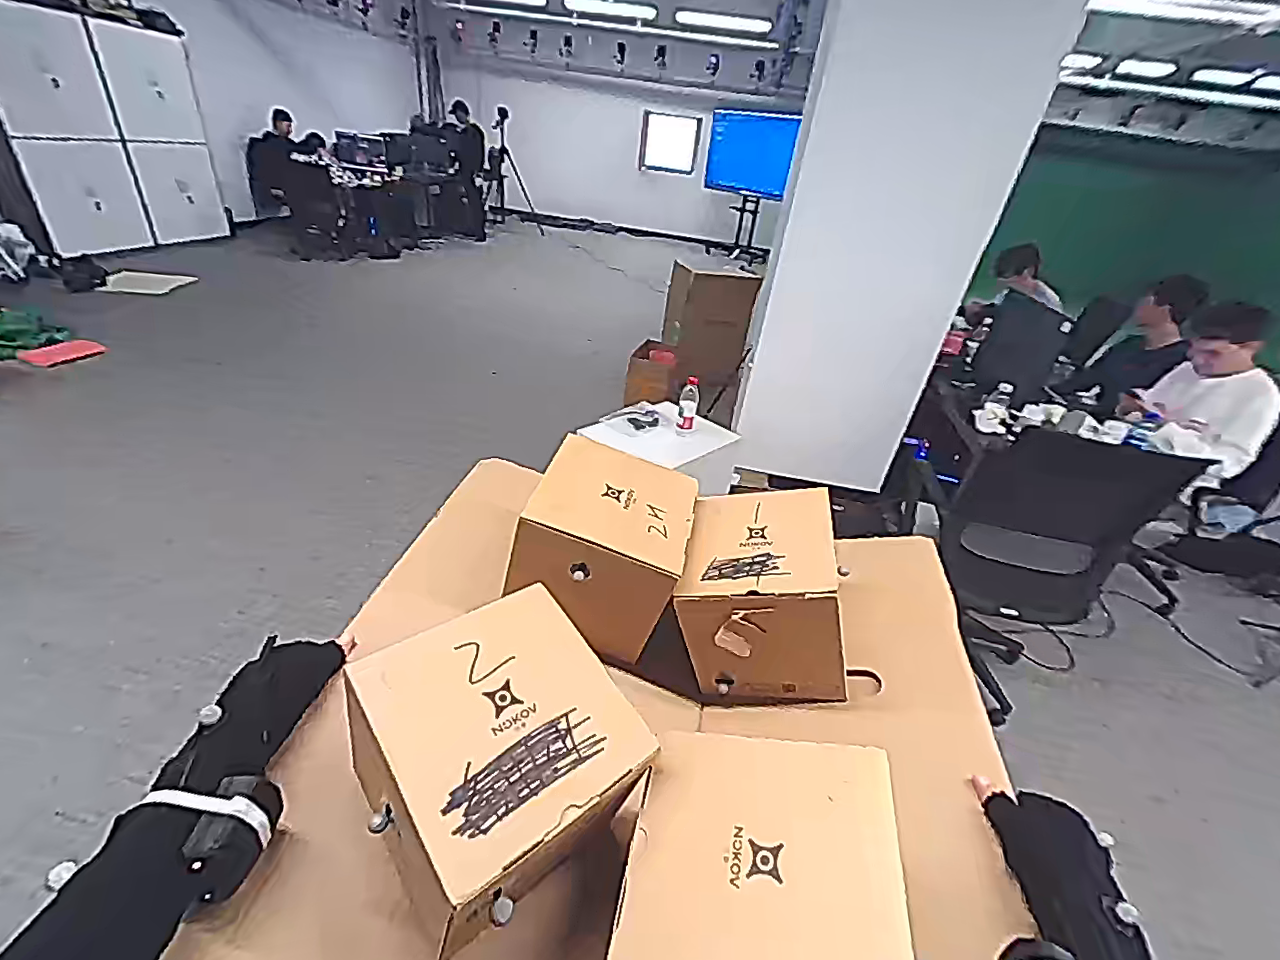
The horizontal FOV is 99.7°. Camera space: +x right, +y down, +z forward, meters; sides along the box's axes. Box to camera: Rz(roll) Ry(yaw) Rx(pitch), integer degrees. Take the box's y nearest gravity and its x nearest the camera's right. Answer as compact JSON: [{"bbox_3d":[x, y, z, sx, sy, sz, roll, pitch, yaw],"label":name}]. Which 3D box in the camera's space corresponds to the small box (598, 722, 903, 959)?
[{"bbox_3d":[0.093,0.309,0.402,0.179,0.176,0.168,-5,34,20],"label":"small box"}]
